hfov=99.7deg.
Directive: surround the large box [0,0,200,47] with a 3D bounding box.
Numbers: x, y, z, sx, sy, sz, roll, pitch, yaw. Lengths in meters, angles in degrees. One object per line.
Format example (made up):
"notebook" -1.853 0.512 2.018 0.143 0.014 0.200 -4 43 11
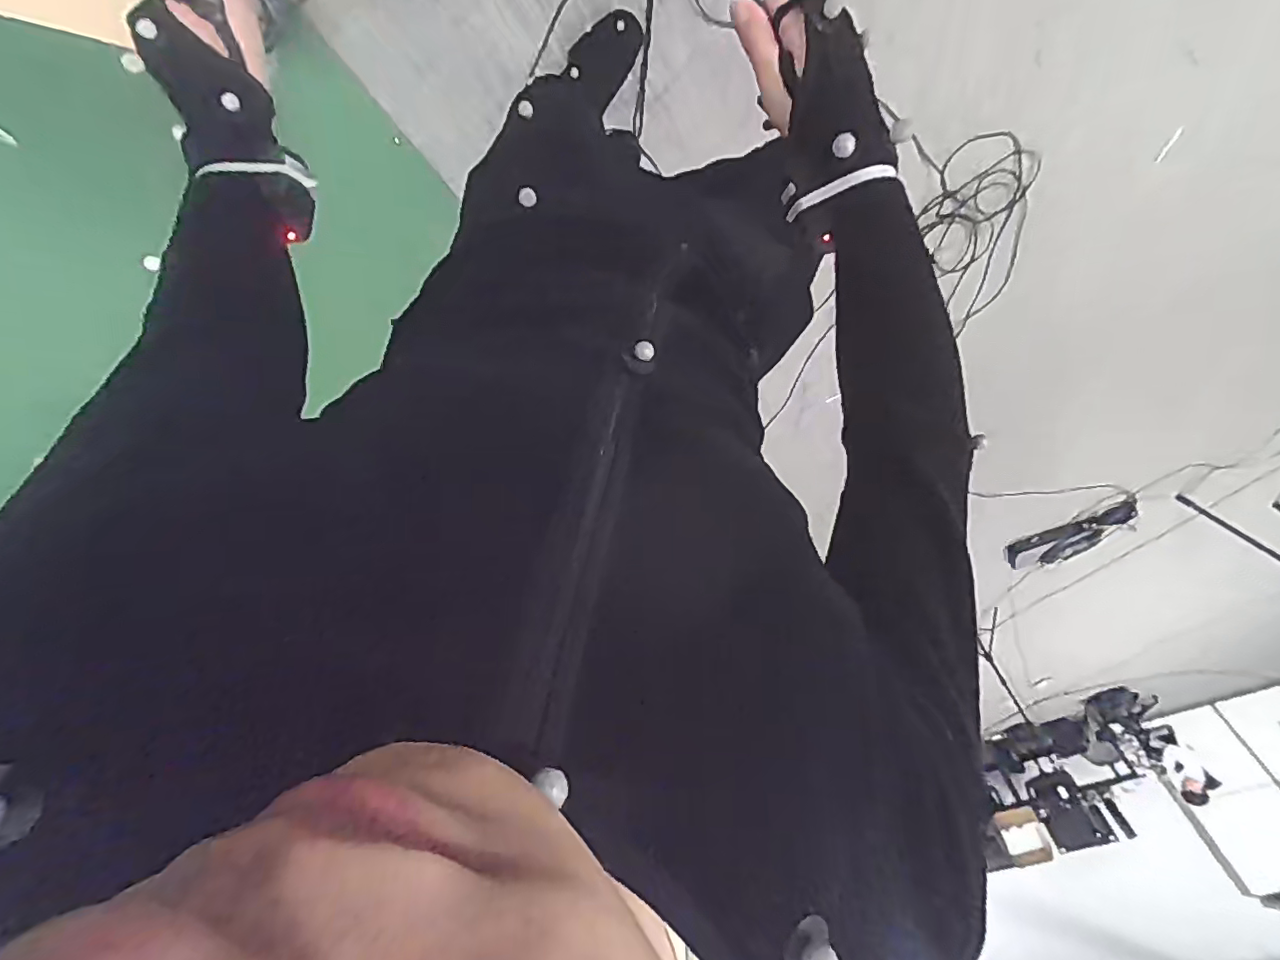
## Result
"large box" -0.796 -0.785 0.616 0.408 0.320 0.320 -1 141 -27
